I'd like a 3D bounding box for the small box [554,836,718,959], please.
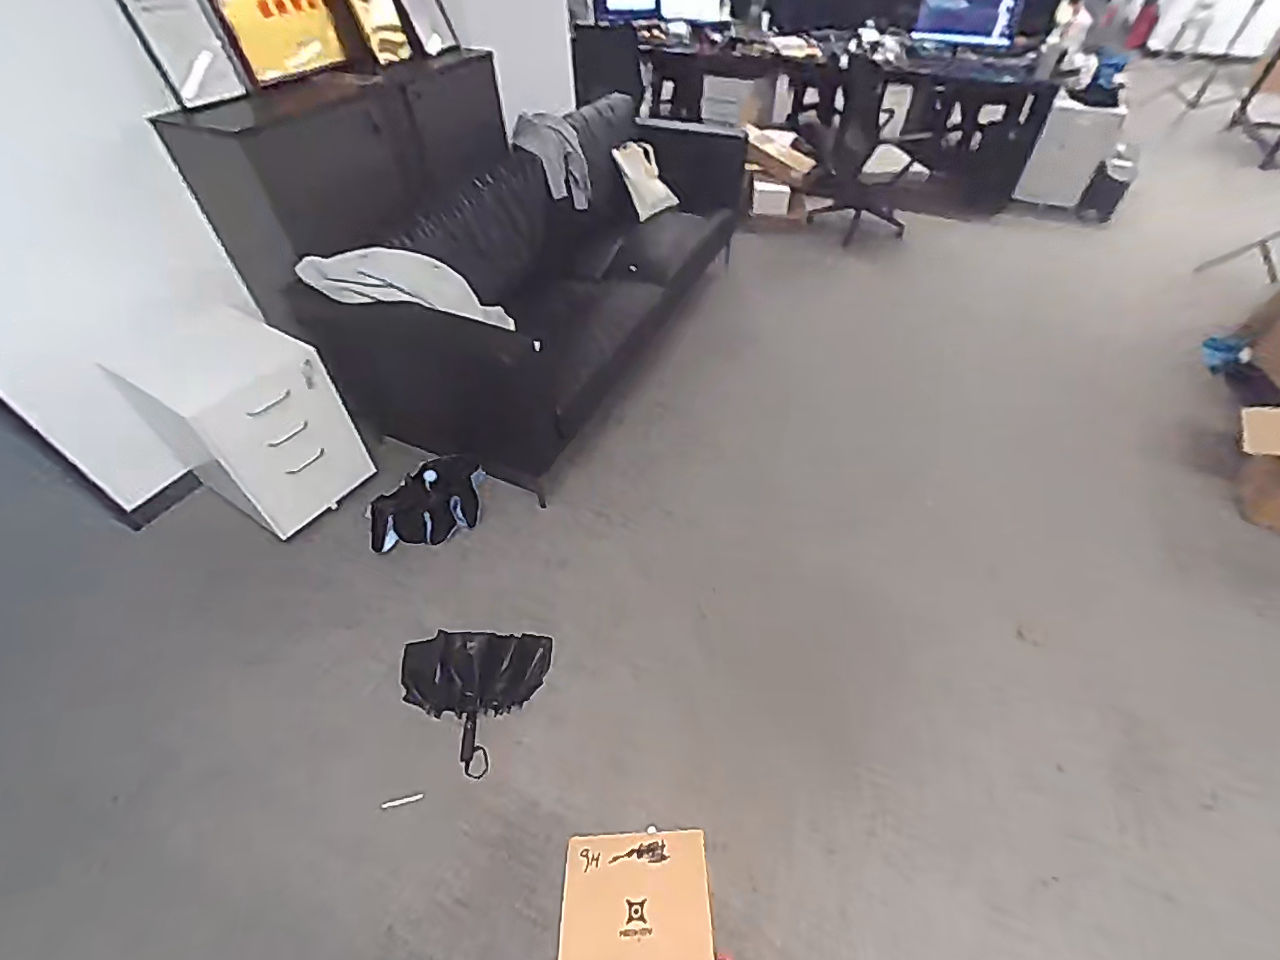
[{"bbox_3d":[0.003,0.536,0.610,0.168,0.176,0.179,-6,35,4],"label":"small box"}]
